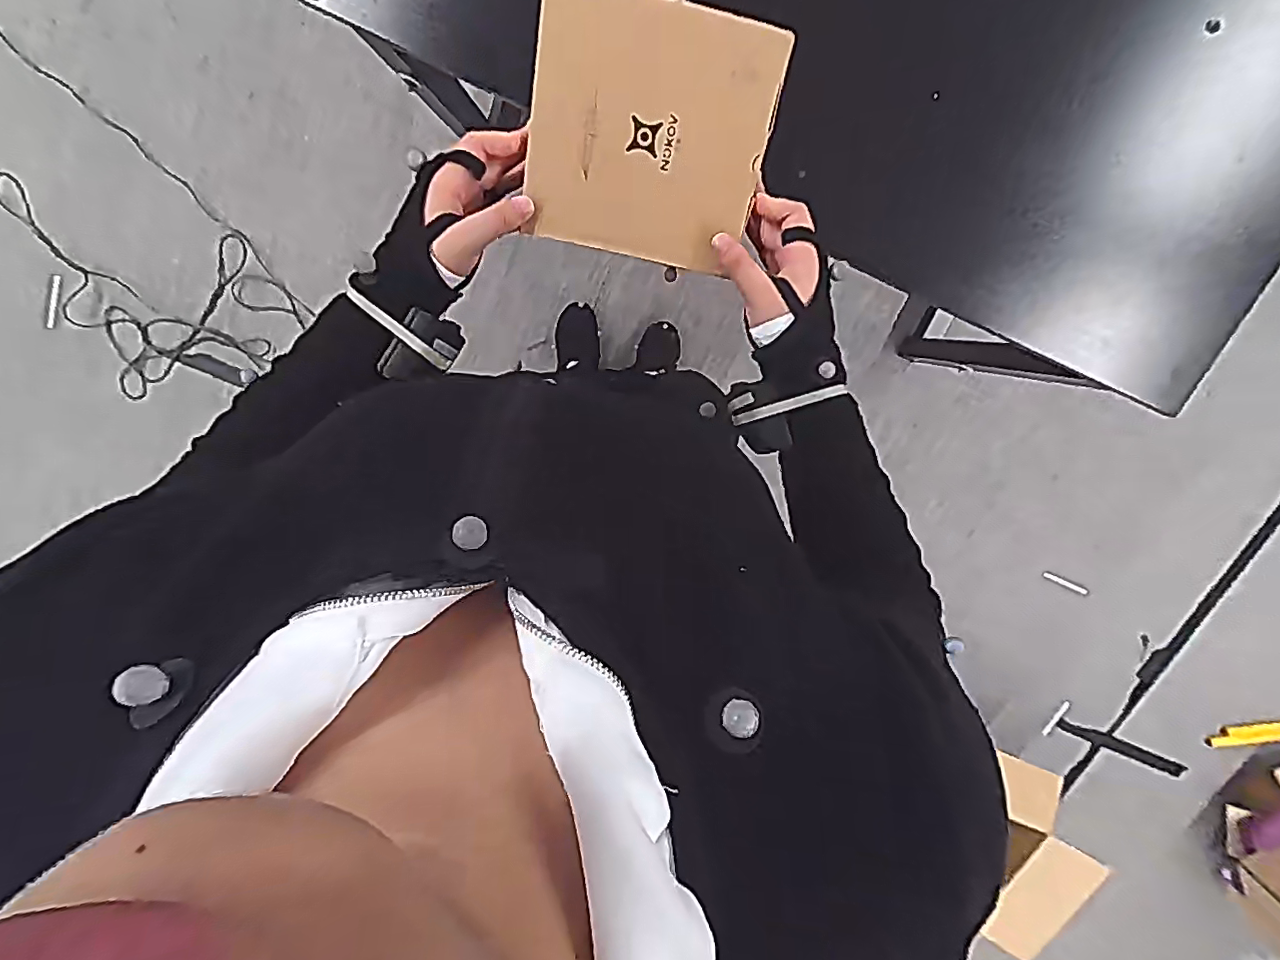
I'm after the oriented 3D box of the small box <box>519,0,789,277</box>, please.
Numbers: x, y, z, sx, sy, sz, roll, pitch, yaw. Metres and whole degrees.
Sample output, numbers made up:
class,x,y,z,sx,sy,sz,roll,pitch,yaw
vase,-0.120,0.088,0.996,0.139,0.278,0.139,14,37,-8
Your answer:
class,x,y,z,sx,sy,sz,roll,pitch,yaw
small box,0.003,-0.284,0.472,0.179,0.176,0.168,9,112,-5
